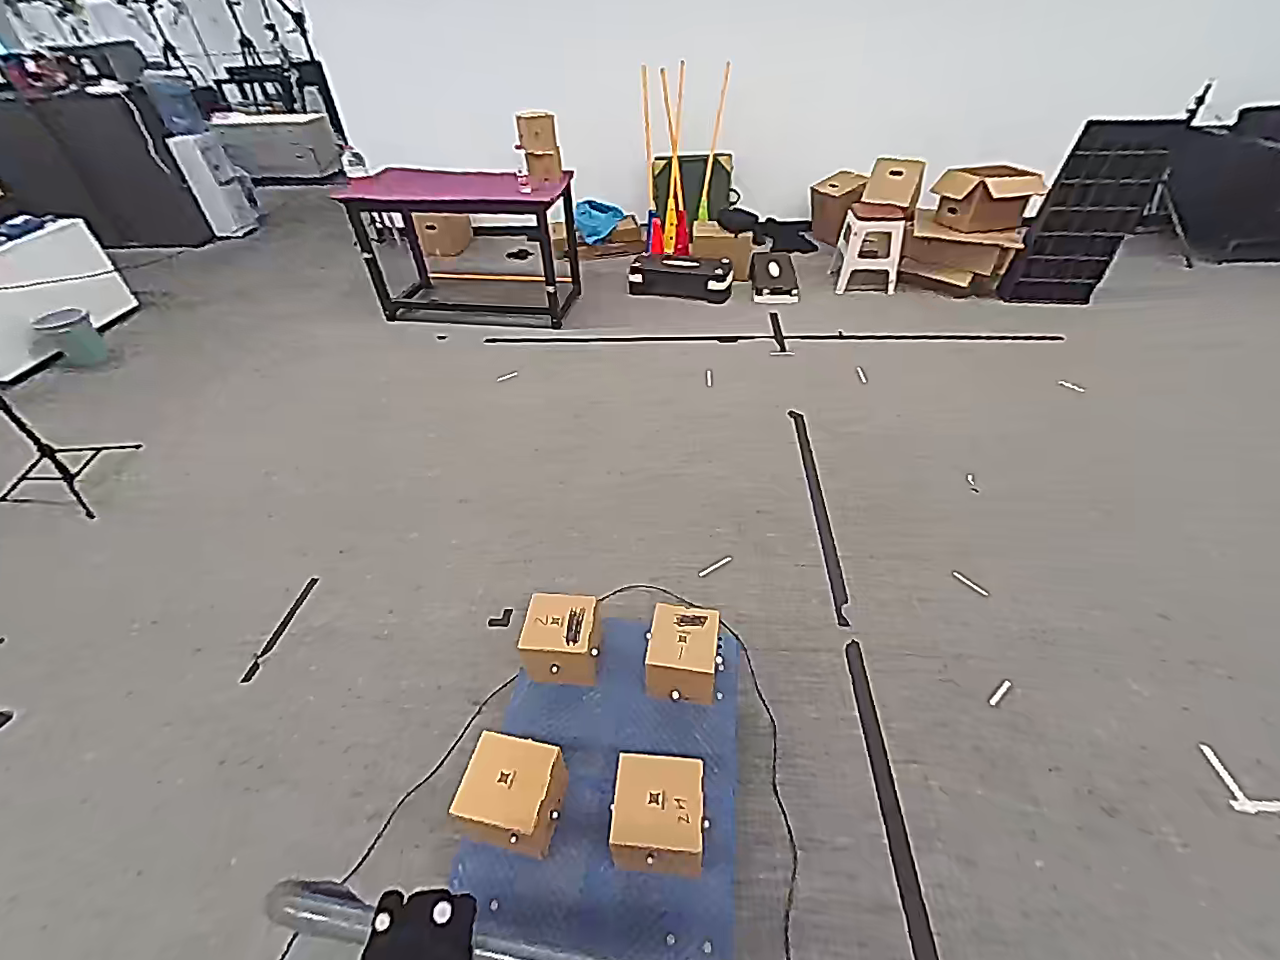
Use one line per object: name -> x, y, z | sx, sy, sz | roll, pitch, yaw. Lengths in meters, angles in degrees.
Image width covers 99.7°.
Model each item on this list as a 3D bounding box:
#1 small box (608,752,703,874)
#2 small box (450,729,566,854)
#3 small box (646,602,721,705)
small box -> 0.038, 0.683, 1.108 | 0.179, 0.176, 0.168 | 3, 42, 6
small box -> -0.269, 0.662, 1.146 | 0.179, 0.176, 0.168 | 8, 42, 9
small box -> 0.111, 0.442, 1.377 | 0.168, 0.176, 0.179 | 6, 43, 9
